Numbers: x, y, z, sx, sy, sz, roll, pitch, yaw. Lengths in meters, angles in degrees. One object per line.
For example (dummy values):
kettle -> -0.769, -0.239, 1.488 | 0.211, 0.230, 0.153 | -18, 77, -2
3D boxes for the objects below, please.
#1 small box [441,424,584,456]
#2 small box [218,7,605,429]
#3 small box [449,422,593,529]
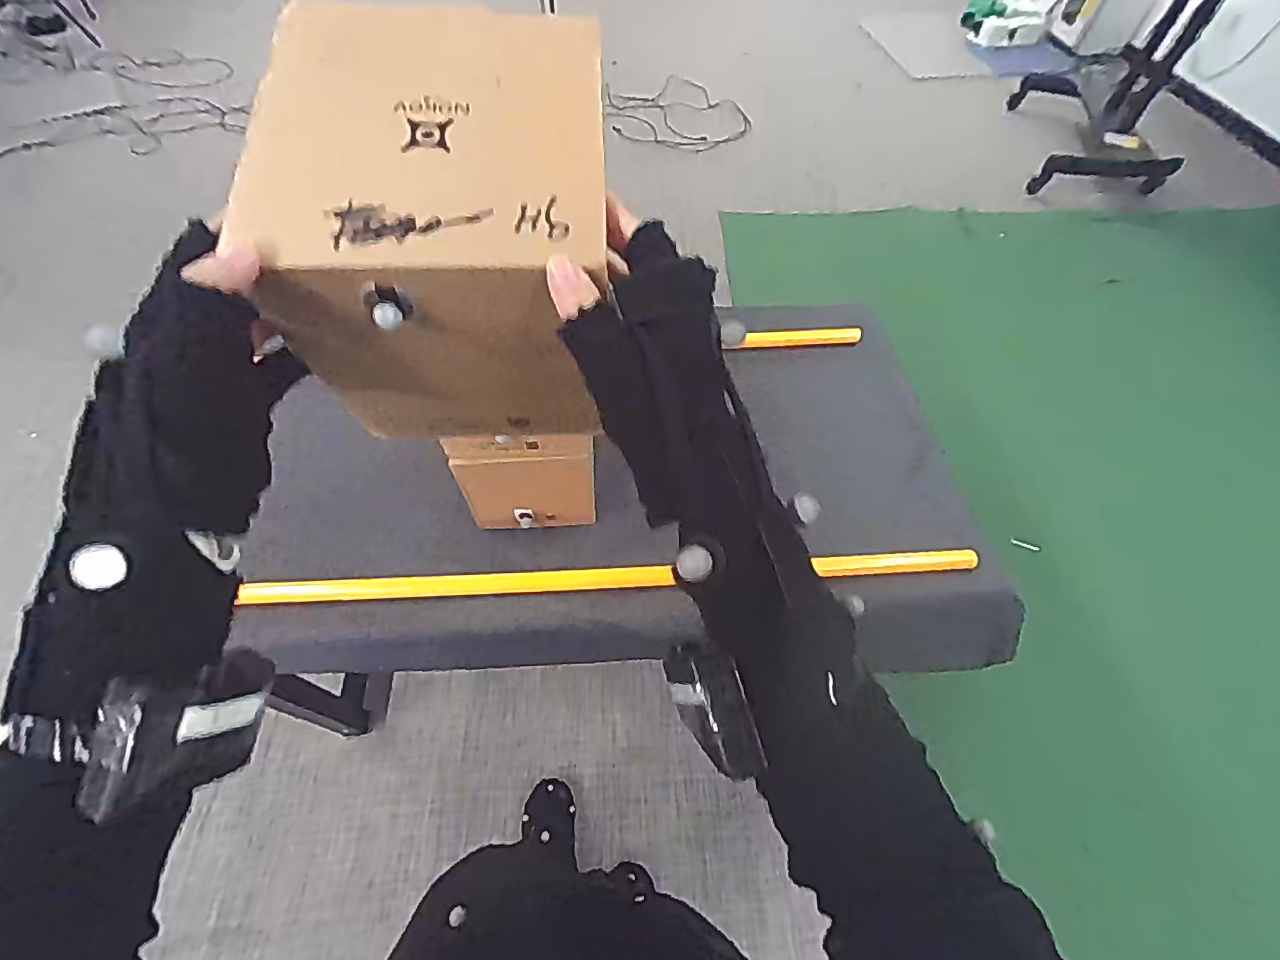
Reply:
small box -> -0.151, -0.146, 0.624 | 0.168, 0.176, 0.179 | -1, 56, -1
small box -> -0.108, -0.148, 0.342 | 0.168, 0.176, 0.179 | -1, 68, -3
small box -> -0.154, -0.050, 0.758 | 0.168, 0.176, 0.179 | -4, 57, -3
